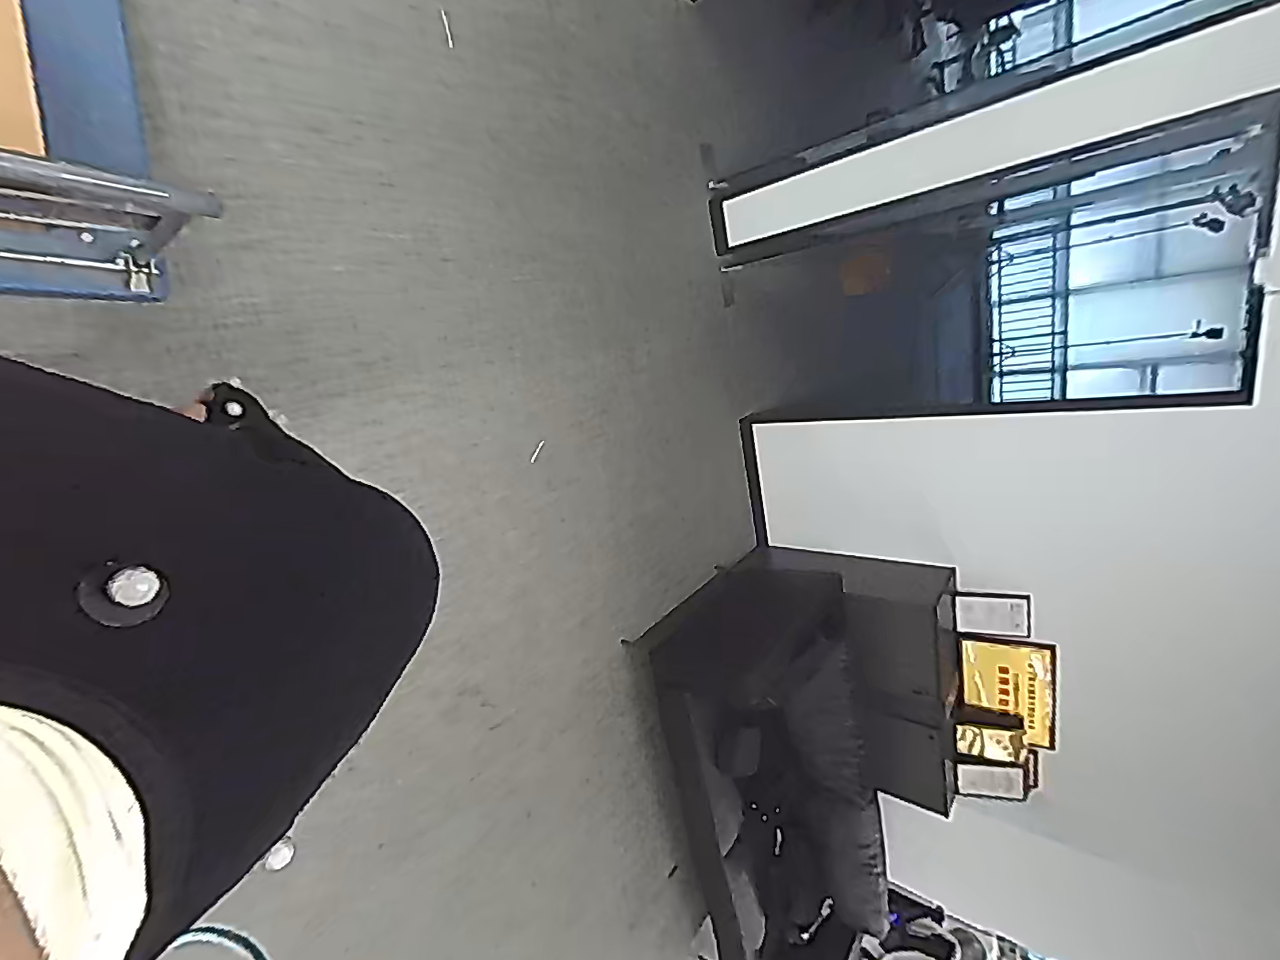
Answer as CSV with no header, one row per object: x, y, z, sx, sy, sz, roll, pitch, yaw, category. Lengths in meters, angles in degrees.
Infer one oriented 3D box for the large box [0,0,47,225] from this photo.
-1.110,-0.636,0.768,0.320,0.320,0.408,-11,99,-48,large box
